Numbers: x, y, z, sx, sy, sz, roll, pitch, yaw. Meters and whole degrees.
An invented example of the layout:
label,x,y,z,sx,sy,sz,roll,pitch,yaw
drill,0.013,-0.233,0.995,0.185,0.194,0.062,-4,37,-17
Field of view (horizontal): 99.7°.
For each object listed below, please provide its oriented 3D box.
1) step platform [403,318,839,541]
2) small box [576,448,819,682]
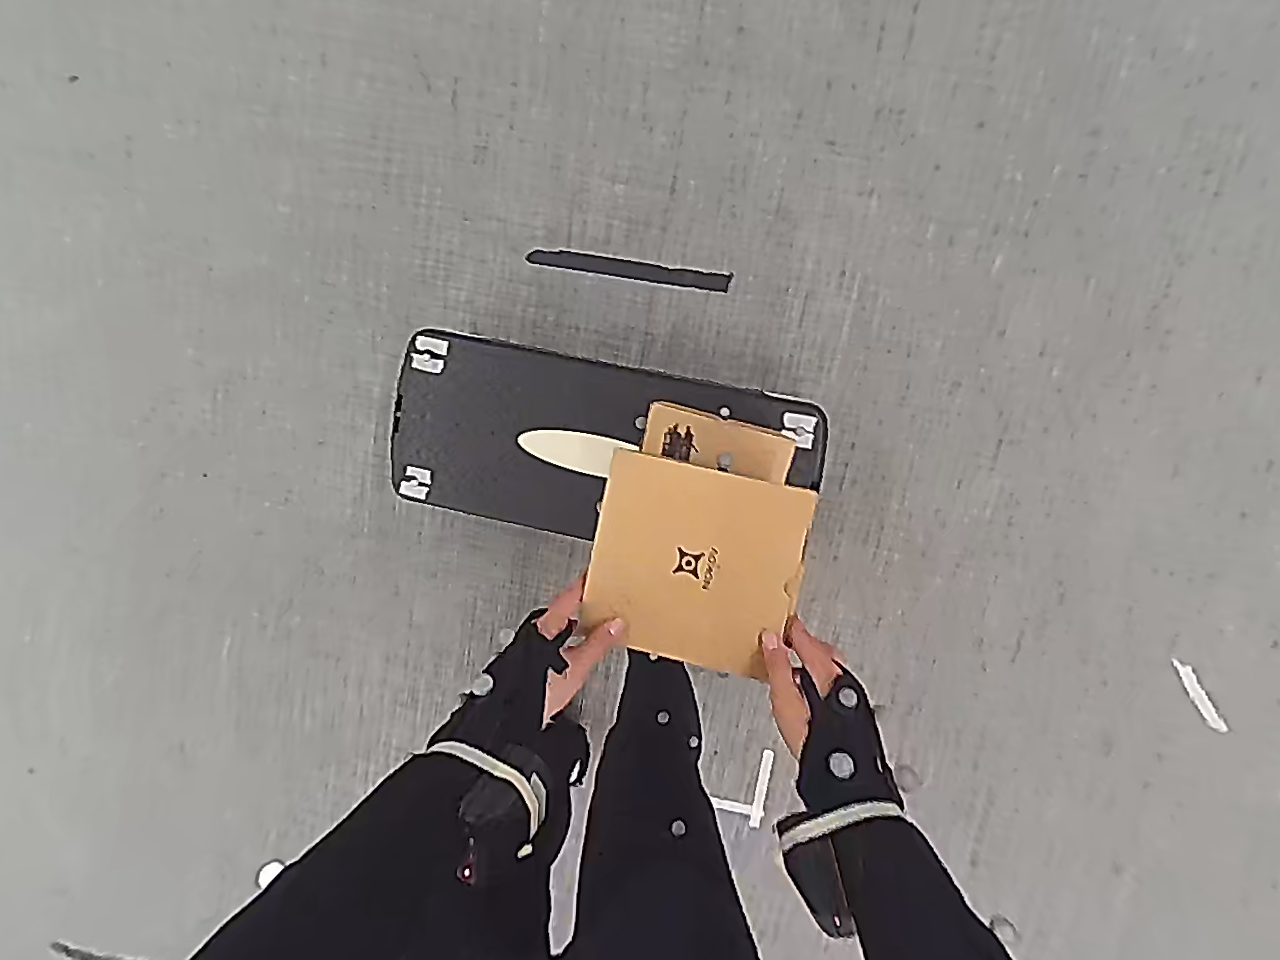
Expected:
label,x,y,z,sx,sy,sz,roll,pitch,yaw
step platform,-0.035,-0.069,0.902,0.684,0.204,0.286,12,99,5
small box,0.053,0.071,0.531,0.179,0.176,0.168,12,92,5
